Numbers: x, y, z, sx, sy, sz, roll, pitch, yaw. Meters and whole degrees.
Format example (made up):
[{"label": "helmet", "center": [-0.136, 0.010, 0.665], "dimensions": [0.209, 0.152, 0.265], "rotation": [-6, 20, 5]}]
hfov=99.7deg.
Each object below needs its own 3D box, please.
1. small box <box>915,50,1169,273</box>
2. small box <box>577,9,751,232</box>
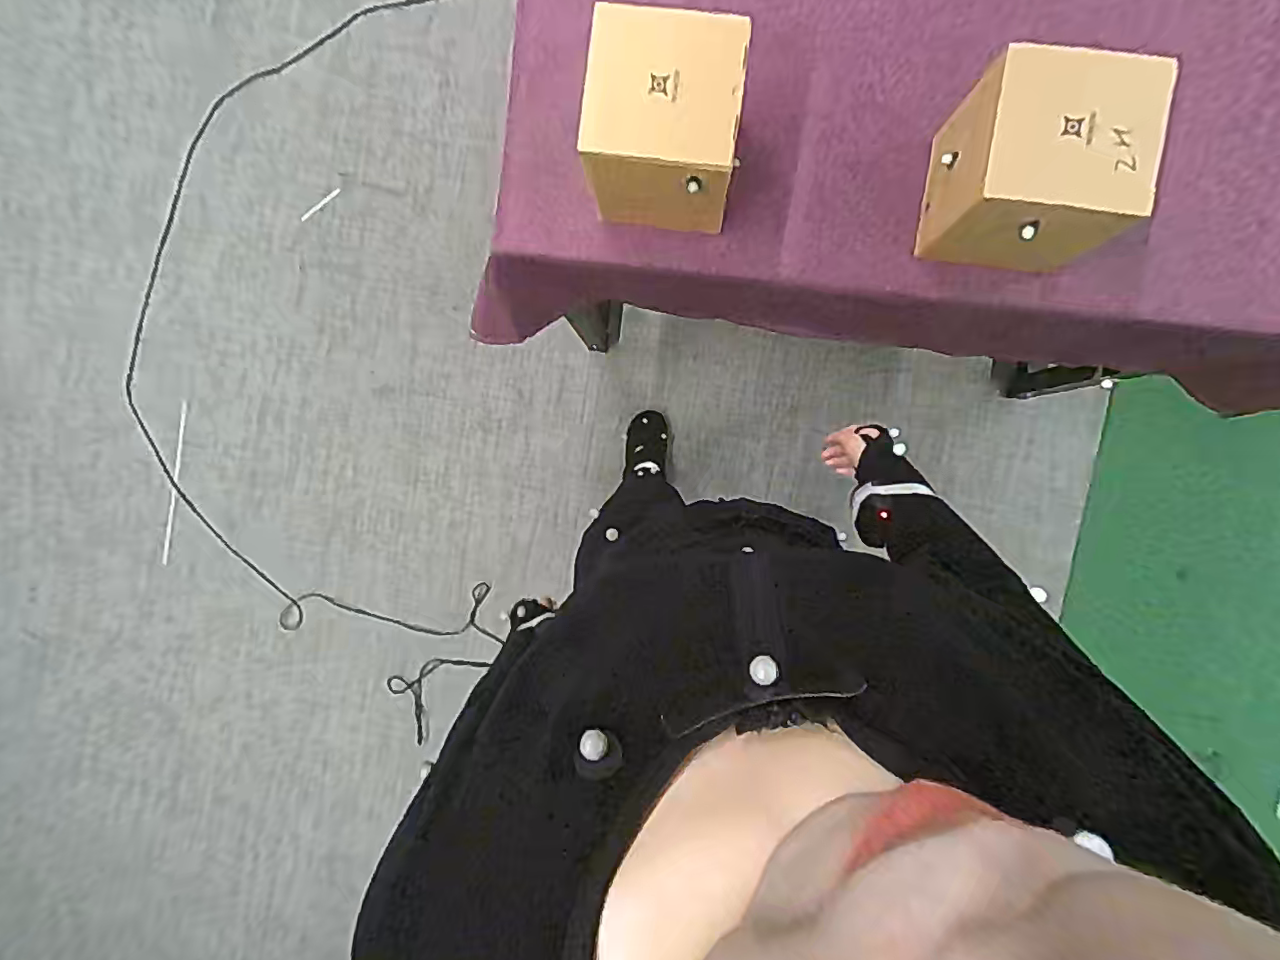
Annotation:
[{"label": "small box", "center": [0.464, -0.368, 0.655], "dimensions": [0.179, 0.176, 0.168], "rotation": [9, 92, 3]}, {"label": "small box", "center": [0.029, -0.433, 0.678], "dimensions": [0.179, 0.176, 0.168], "rotation": [8, 92, 2]}]
